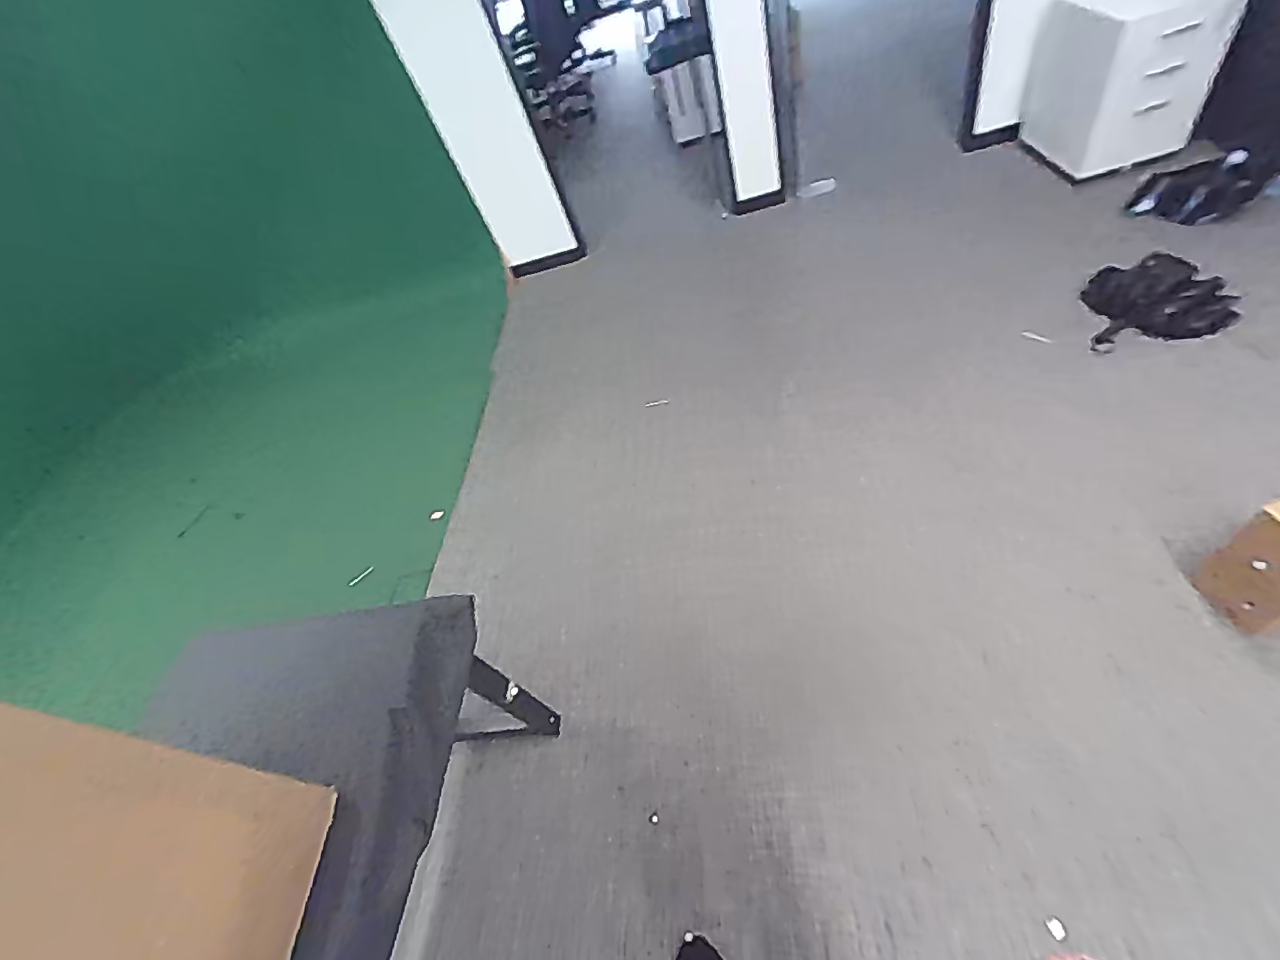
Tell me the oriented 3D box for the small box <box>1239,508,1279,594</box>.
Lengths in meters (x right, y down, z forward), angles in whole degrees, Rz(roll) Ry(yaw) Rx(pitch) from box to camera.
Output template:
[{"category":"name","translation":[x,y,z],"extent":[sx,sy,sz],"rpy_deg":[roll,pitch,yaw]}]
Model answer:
[{"category":"small box","translation":[1.382,0.139,1.072],"extent":[0.179,0.176,0.168],"rpy_deg":[-20,48,7]}]

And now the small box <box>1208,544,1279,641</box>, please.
[{"category":"small box","translation":[1.432,0.233,1.198],"extent":[0.179,0.176,0.168],"rpy_deg":[-19,49,4]}]
